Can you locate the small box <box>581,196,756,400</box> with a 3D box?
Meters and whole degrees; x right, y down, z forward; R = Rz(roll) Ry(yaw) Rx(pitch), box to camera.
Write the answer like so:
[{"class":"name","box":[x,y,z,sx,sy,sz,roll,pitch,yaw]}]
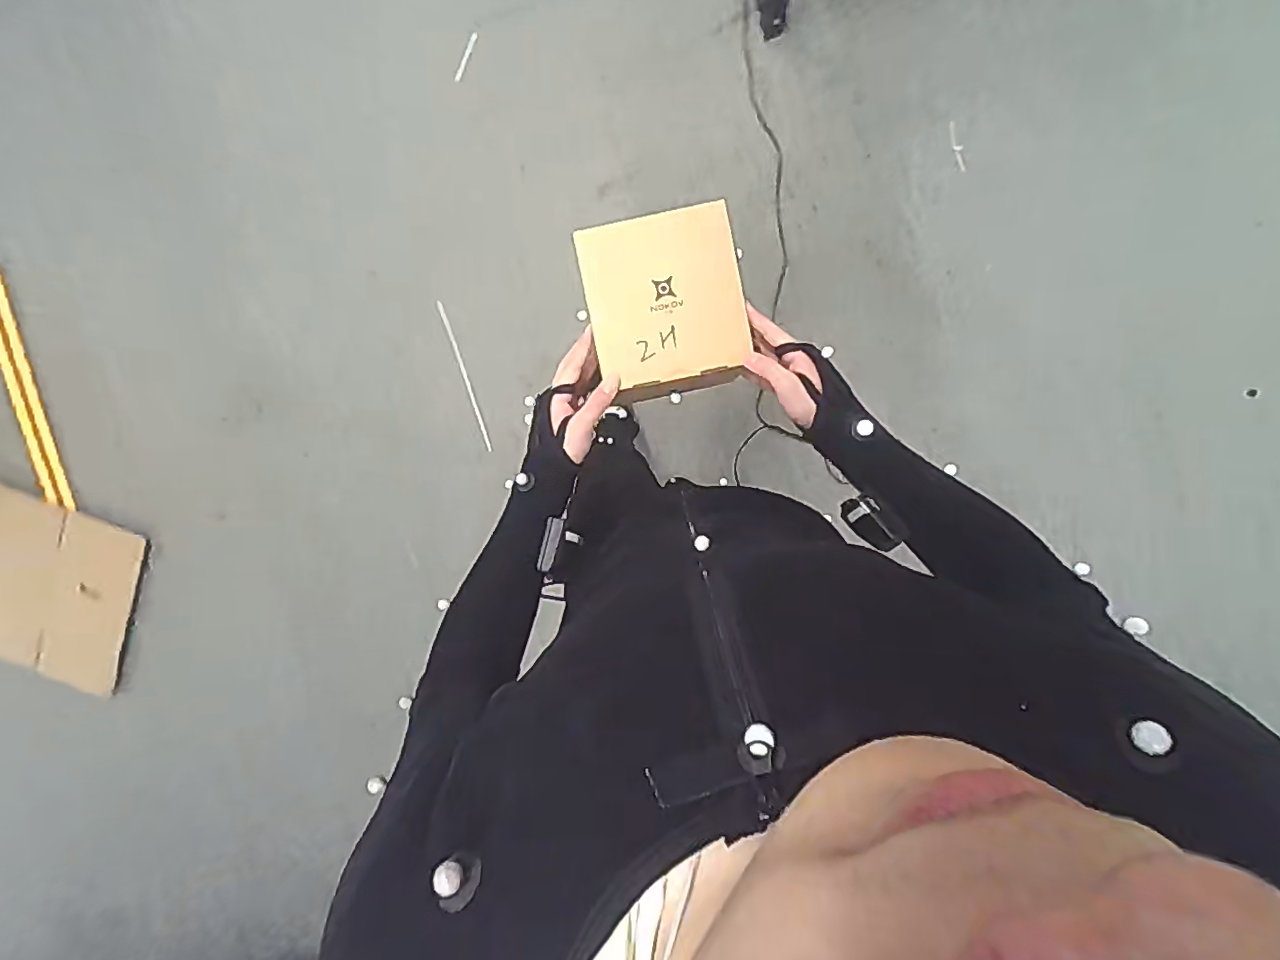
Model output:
[{"class":"small box","box":[0.030,-0.202,0.649,0.168,0.176,0.179,-10,92,2]}]
